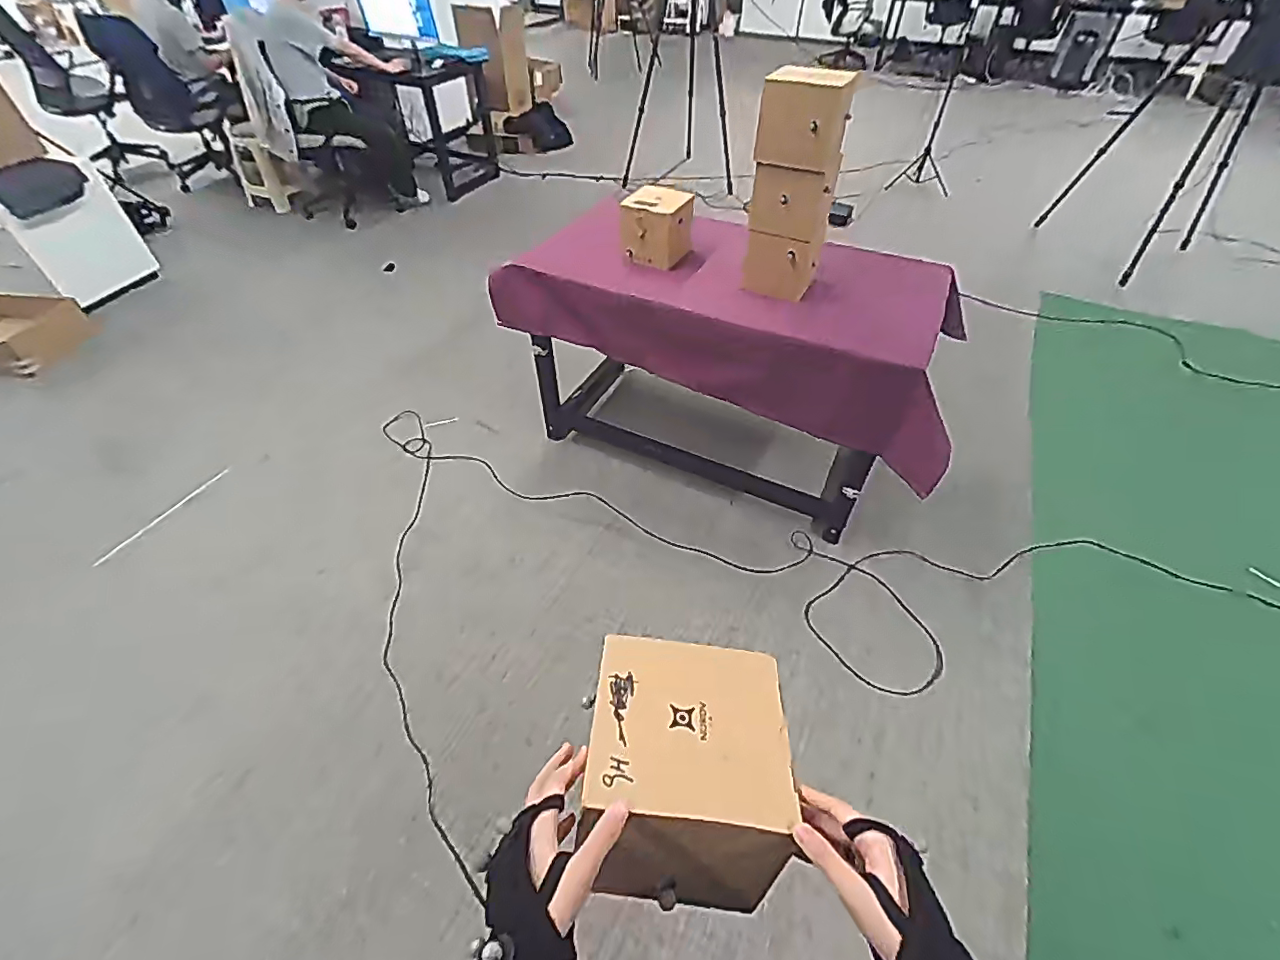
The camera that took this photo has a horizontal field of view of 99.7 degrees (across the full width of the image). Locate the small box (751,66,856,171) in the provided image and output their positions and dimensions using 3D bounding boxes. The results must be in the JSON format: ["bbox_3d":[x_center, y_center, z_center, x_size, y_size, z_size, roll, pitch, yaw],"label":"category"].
[{"bbox_3d":[0.379,-0.848,1.272,0.179,0.176,0.168,21,50,19],"label":"small box"}]

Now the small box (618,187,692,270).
[{"bbox_3d":[0.048,-0.760,1.639,0.168,0.176,0.179,21,50,18],"label":"small box"}]

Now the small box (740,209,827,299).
[{"bbox_3d":[0.397,-0.629,1.516,0.179,0.176,0.168,22,50,19],"label":"small box"}]

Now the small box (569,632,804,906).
[{"bbox_3d":[0.035,0.277,0.521,0.179,0.176,0.168,9,33,-1],"label":"small box"}]
